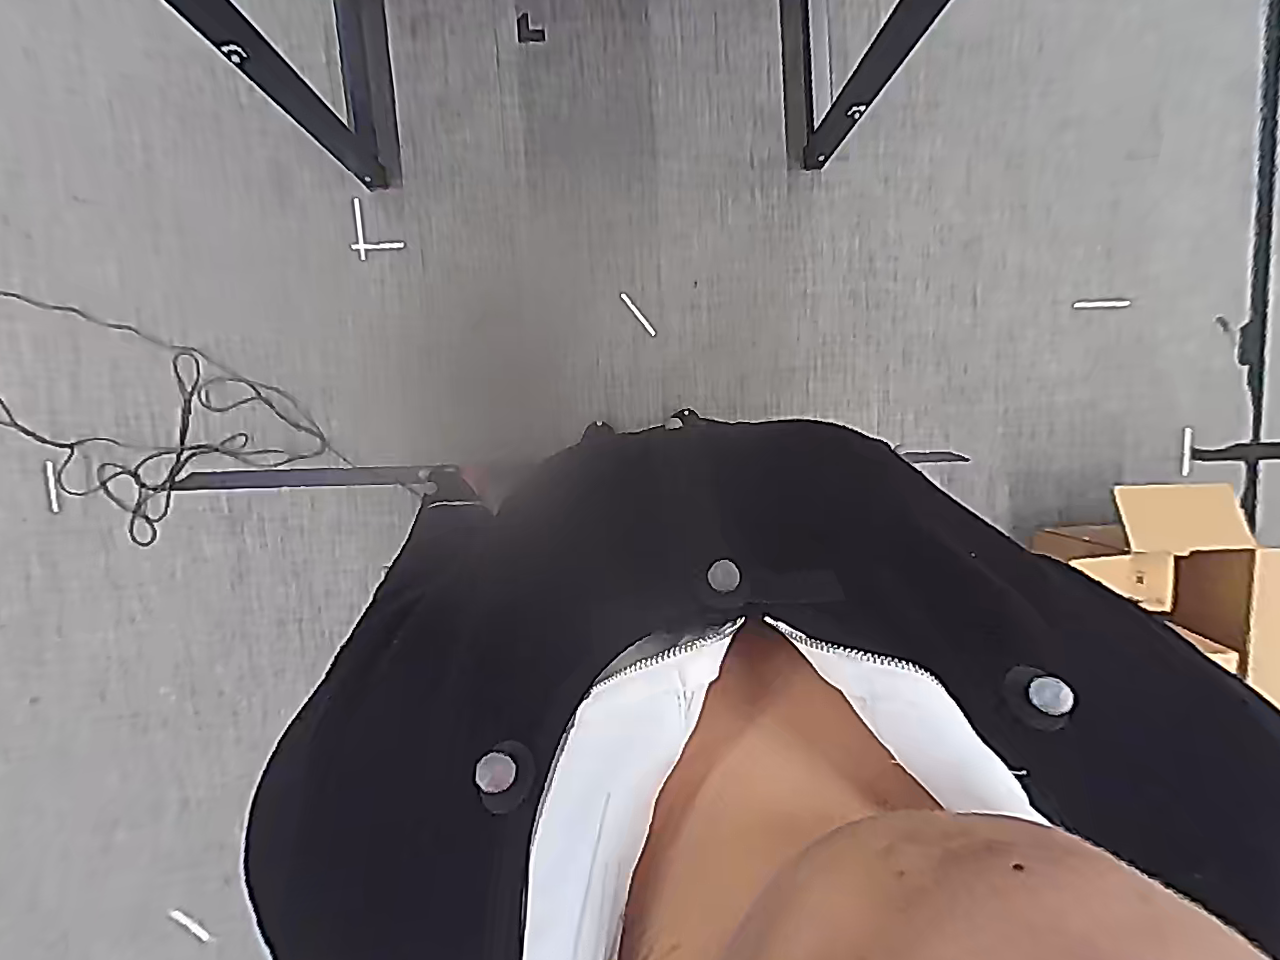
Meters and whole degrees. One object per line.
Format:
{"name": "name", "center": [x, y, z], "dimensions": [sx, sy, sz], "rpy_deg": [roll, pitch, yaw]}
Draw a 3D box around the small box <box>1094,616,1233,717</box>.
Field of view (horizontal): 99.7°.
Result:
{"name": "small box", "center": [1.261, 0.449, 1.317], "dimensions": [0.168, 0.176, 0.179], "rpy_deg": [0, 100, -3]}
